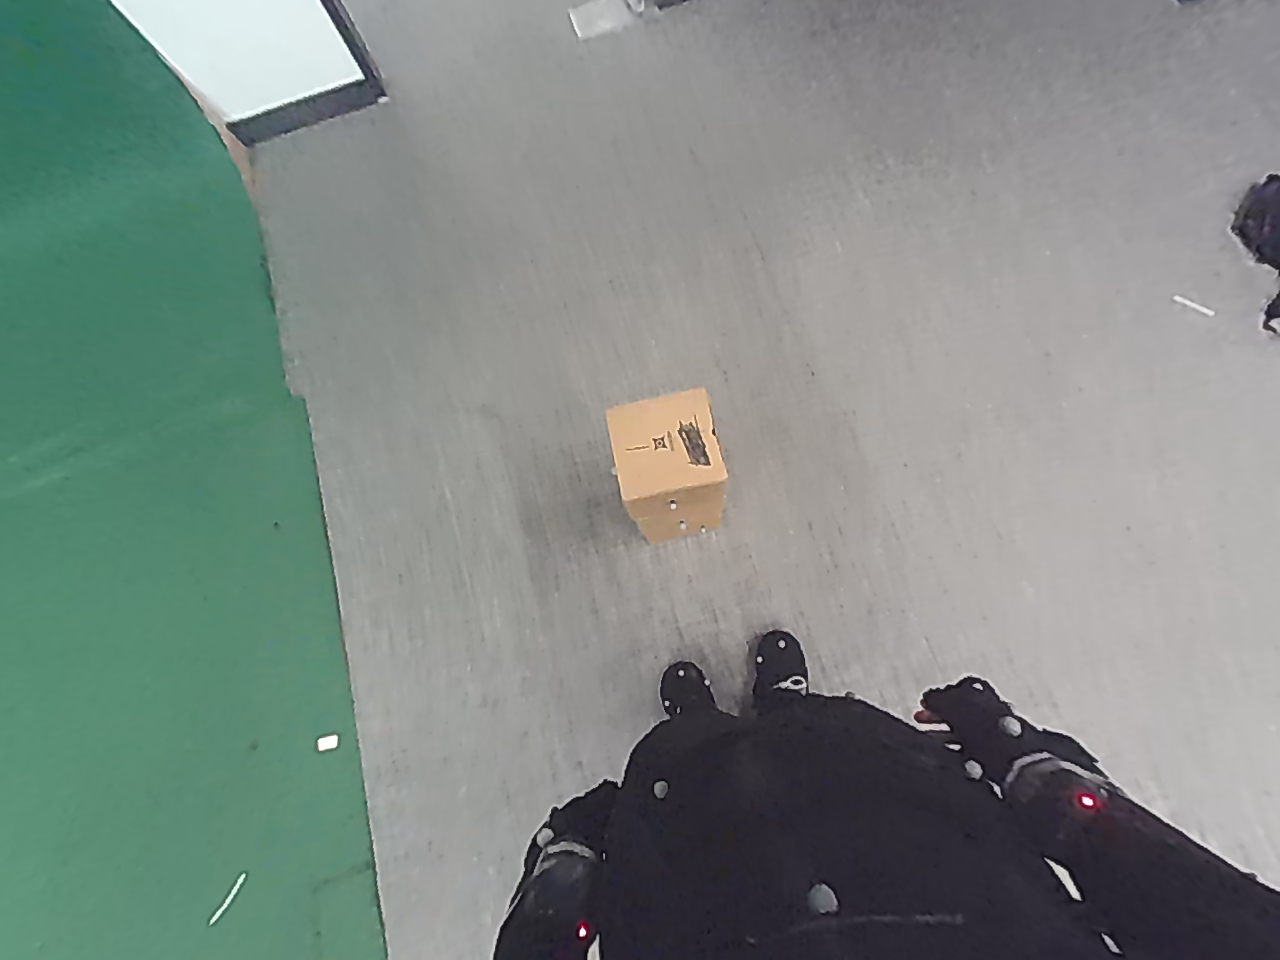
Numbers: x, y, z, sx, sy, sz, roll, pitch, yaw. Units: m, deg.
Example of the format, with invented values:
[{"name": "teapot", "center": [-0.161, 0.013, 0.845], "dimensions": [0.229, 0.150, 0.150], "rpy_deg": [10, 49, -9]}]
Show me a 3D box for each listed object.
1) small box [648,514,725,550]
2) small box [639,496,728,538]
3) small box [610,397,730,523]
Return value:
[{"name": "small box", "center": [0.091, 0.059, 1.280], "dimensions": [0.179, 0.176, 0.168], "rpy_deg": [-16, 74, 2]}, {"name": "small box", "center": [0.072, 0.015, 1.124], "dimensions": [0.179, 0.176, 0.168], "rpy_deg": [-13, 74, 1]}, {"name": "small box", "center": [0.055, -0.028, 0.966], "dimensions": [0.179, 0.176, 0.168], "rpy_deg": [-12, 74, 4]}]
